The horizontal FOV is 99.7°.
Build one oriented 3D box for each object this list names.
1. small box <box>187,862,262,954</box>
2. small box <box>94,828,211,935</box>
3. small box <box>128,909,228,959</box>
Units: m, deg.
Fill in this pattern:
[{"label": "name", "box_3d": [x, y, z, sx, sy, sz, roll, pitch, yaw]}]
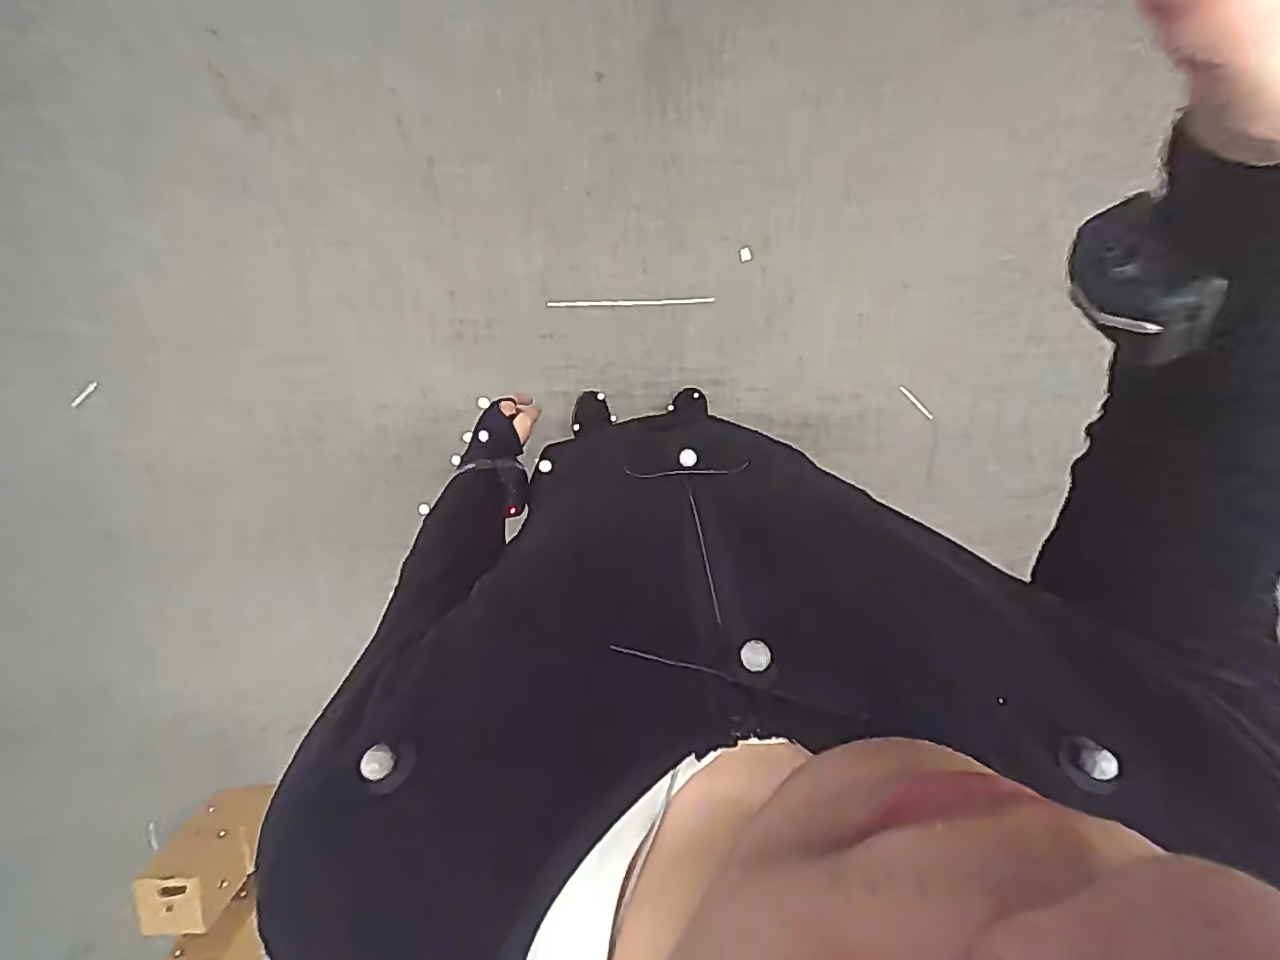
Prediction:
[{"label": "small box", "box_3d": [-1.304, 1.319, 1.670, 0.179, 0.176, 0.168, 1, 99, -4]}, {"label": "small box", "box_3d": [-1.307, 1.078, 1.462, 0.168, 0.176, 0.179, 2, 100, -3]}, {"label": "small box", "box_3d": [-1.292, 1.344, 1.511, 0.179, 0.176, 0.168, -1, 100, -3]}]
